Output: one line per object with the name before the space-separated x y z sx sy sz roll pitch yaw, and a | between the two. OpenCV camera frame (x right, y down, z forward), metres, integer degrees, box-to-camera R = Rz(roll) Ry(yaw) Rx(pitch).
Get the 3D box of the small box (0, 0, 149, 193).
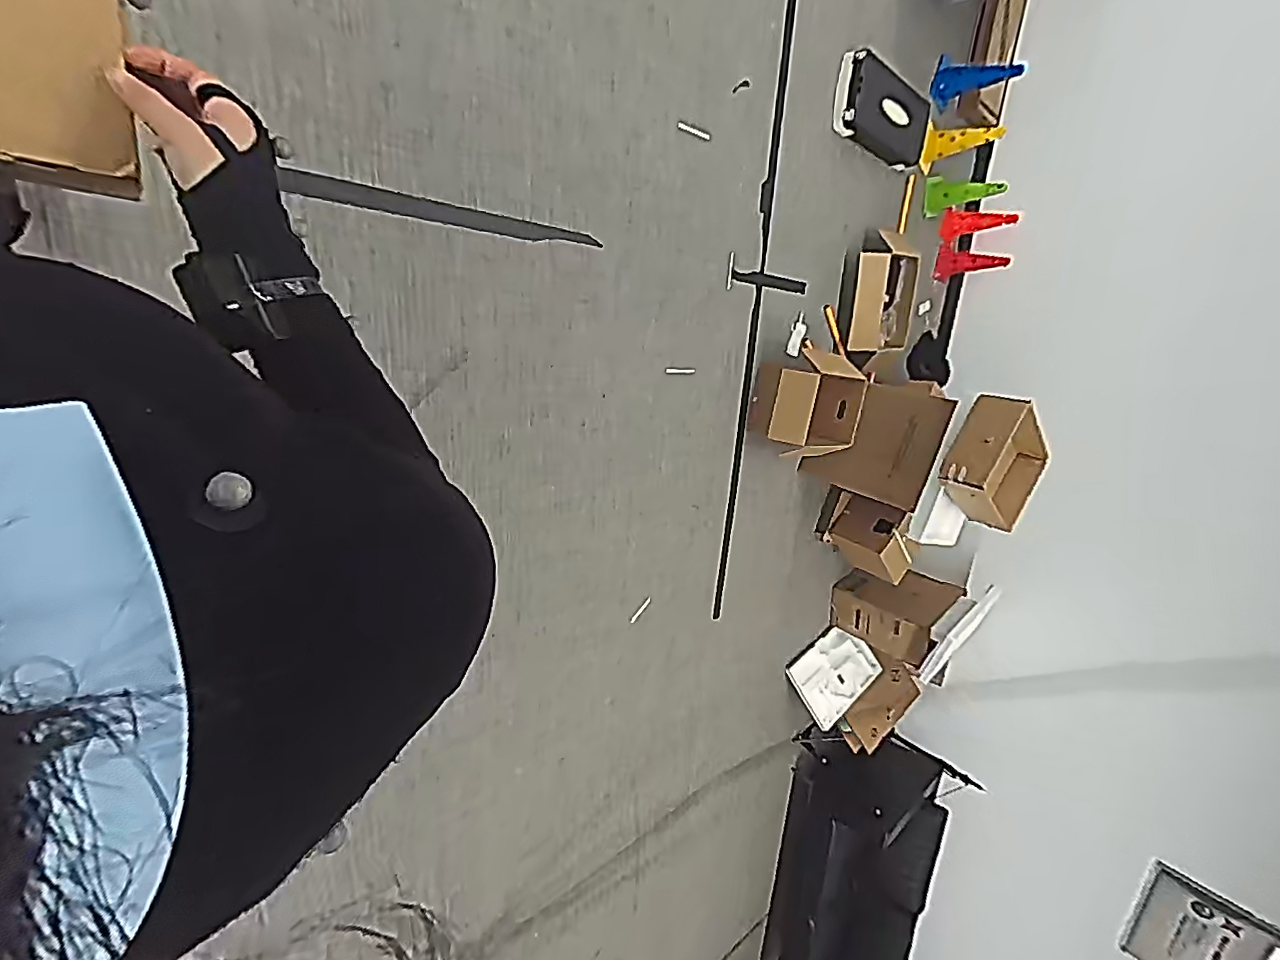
small box | -0.451 -0.313 0.364 0.168 0.176 0.179 -6 111 -41
